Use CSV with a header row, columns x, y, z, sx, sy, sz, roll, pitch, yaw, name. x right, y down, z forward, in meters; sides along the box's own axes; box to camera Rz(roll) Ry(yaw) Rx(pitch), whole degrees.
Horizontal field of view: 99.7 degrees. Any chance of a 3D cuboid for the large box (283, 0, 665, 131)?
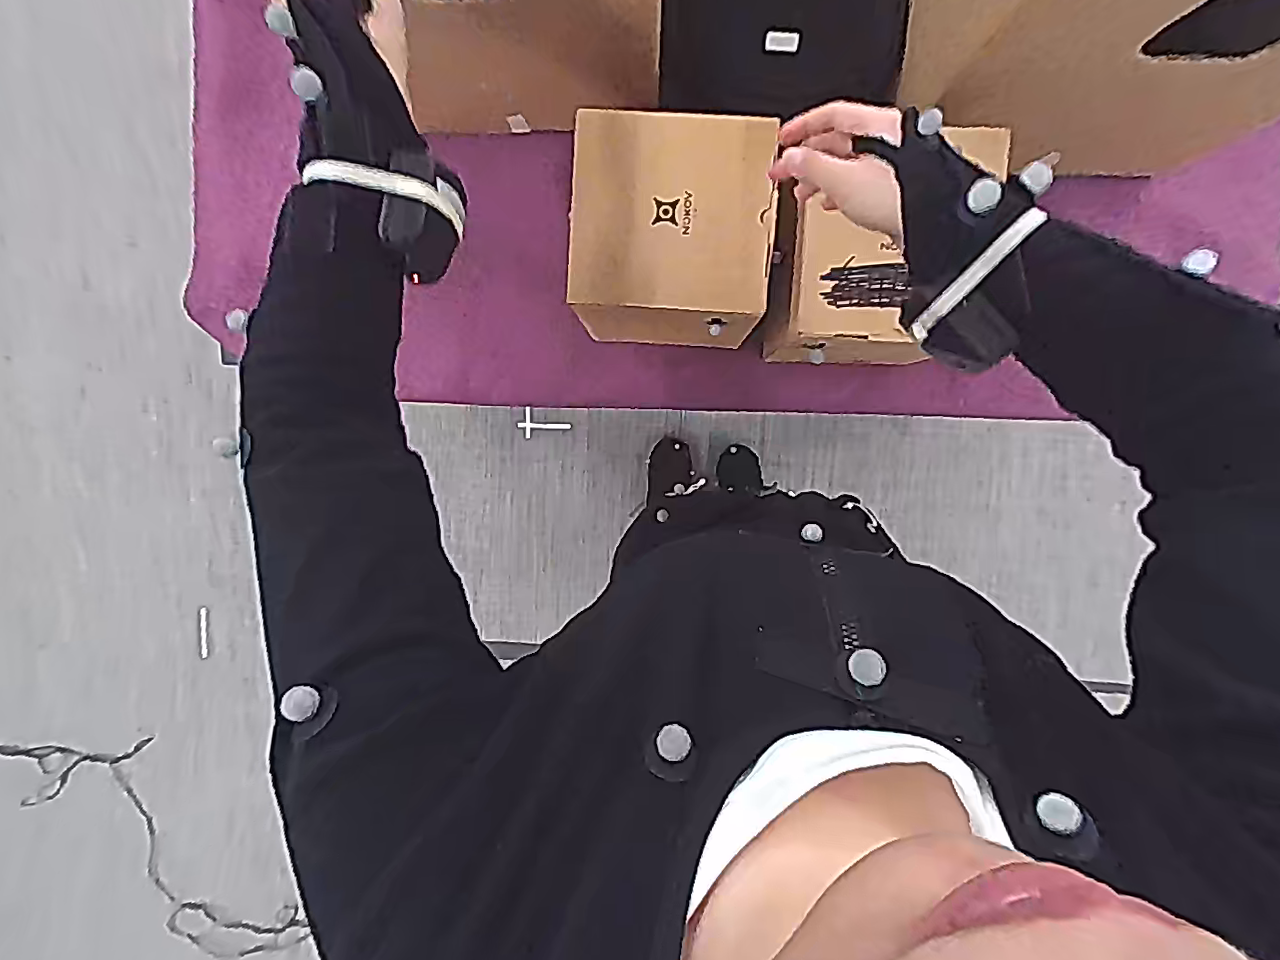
x,y,z,sx,sy,sz,roll,pitch,yaw,name
-0.135,-0.580,0.447,0.320,0.320,0.408,0,98,2,large box
